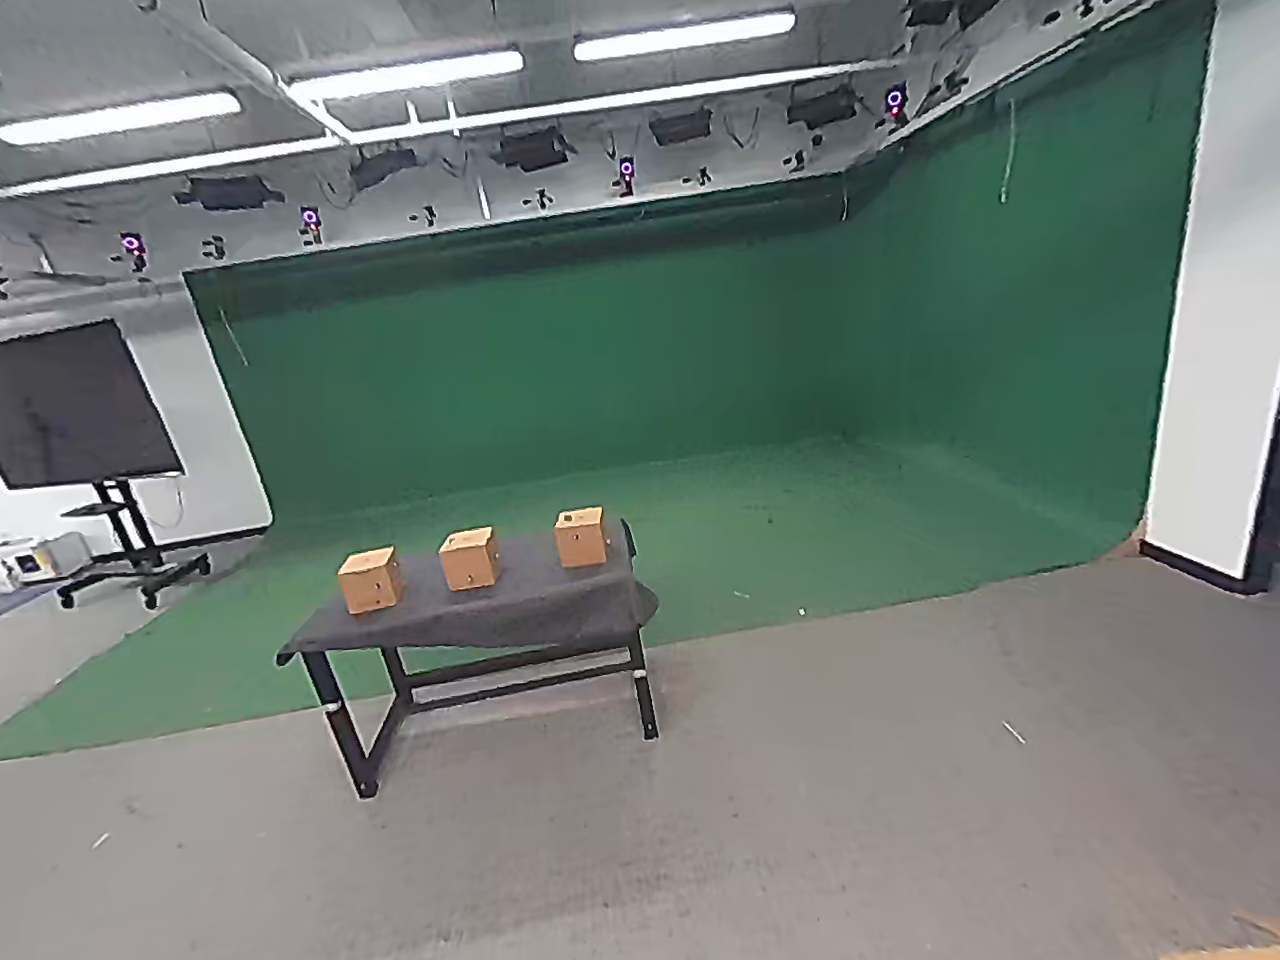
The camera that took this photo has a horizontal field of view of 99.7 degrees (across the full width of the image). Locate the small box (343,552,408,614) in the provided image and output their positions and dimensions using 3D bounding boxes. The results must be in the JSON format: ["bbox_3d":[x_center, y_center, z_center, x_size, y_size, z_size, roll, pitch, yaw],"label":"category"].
[{"bbox_3d":[-0.994,0.394,2.048,0.168,0.176,0.179,-11,15,-11],"label":"small box"}]

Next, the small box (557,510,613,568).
[{"bbox_3d":[-0.213,0.235,2.128,0.179,0.176,0.168,-8,18,4],"label":"small box"}]

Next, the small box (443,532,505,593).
[{"bbox_3d":[-0.635,0.319,2.096,0.179,0.176,0.168,-9,17,0],"label":"small box"}]
